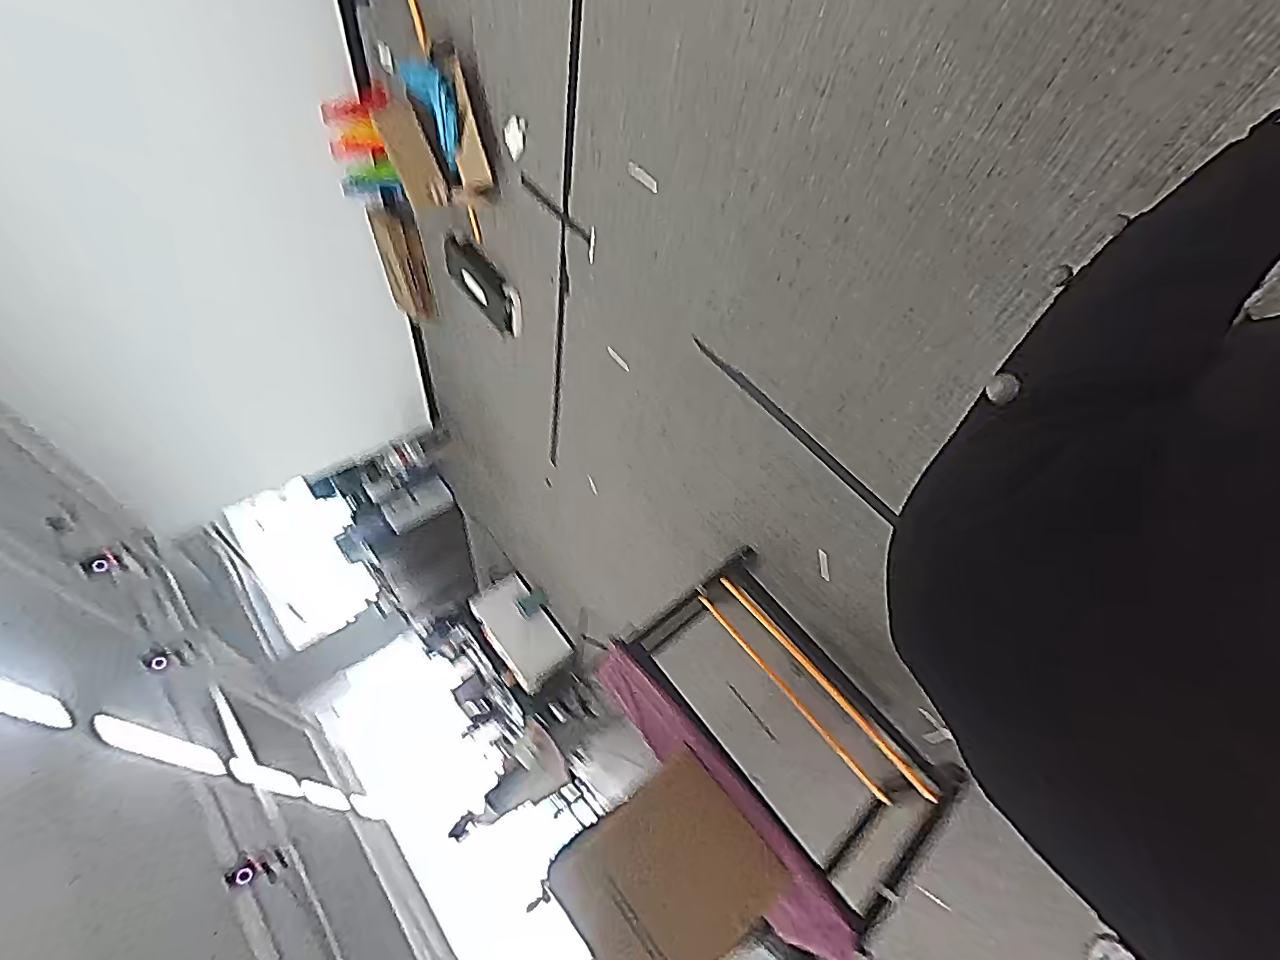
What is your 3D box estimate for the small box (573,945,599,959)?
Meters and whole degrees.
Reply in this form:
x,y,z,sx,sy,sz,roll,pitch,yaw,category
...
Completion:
x,y,z,sx,sy,sz,roll,pitch,yaw,category
-0.179,1.652,1.736,0.179,0.176,0.168,46,149,24,small box
